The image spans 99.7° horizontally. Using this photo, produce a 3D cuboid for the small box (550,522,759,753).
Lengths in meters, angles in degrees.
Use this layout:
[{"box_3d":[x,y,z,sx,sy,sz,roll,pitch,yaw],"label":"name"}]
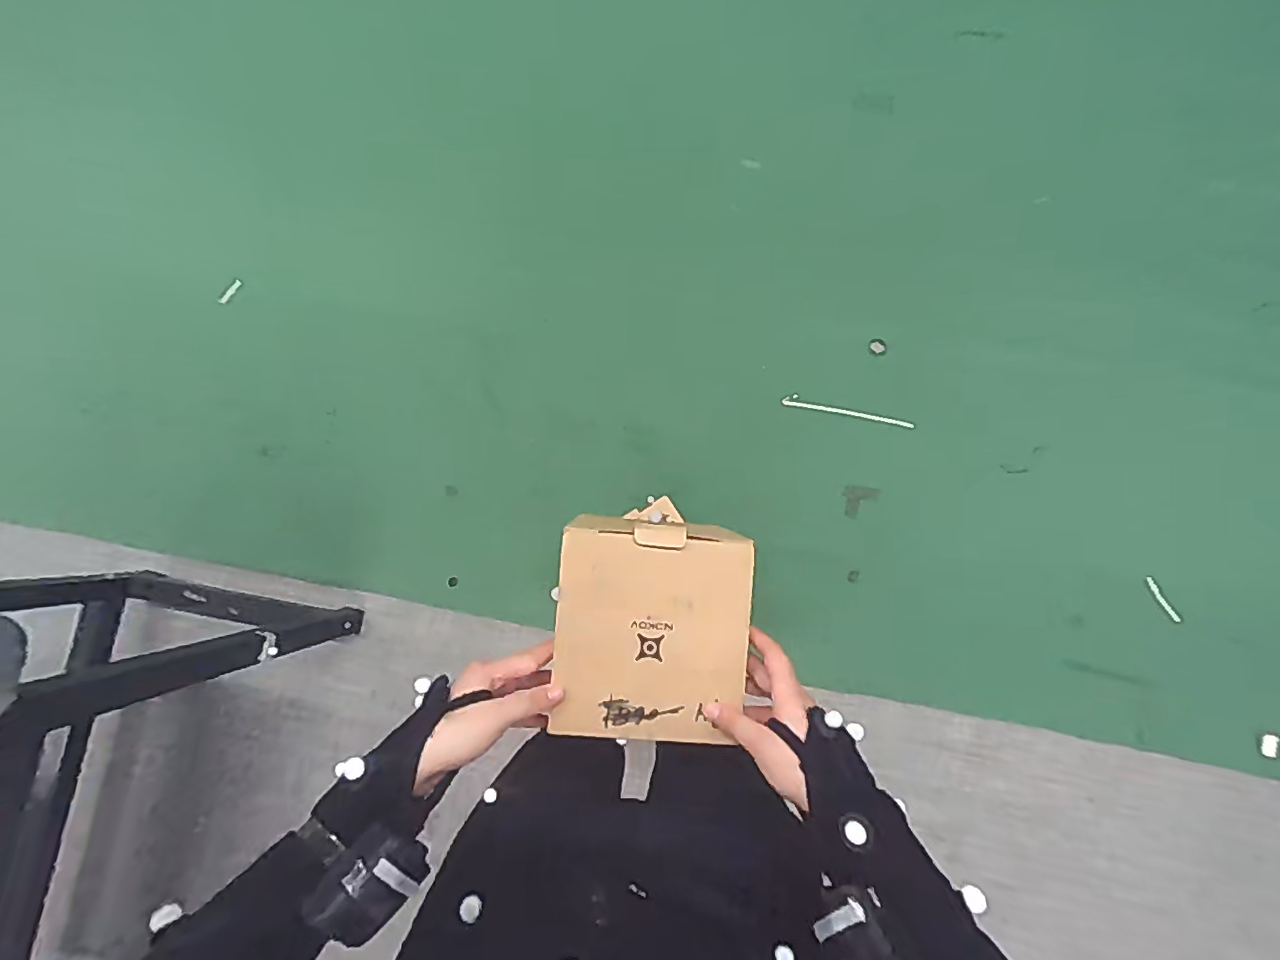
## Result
[{"box_3d":[0.009,0.137,0.531,0.168,0.176,0.179,5,91,-3],"label":"small box"}]
